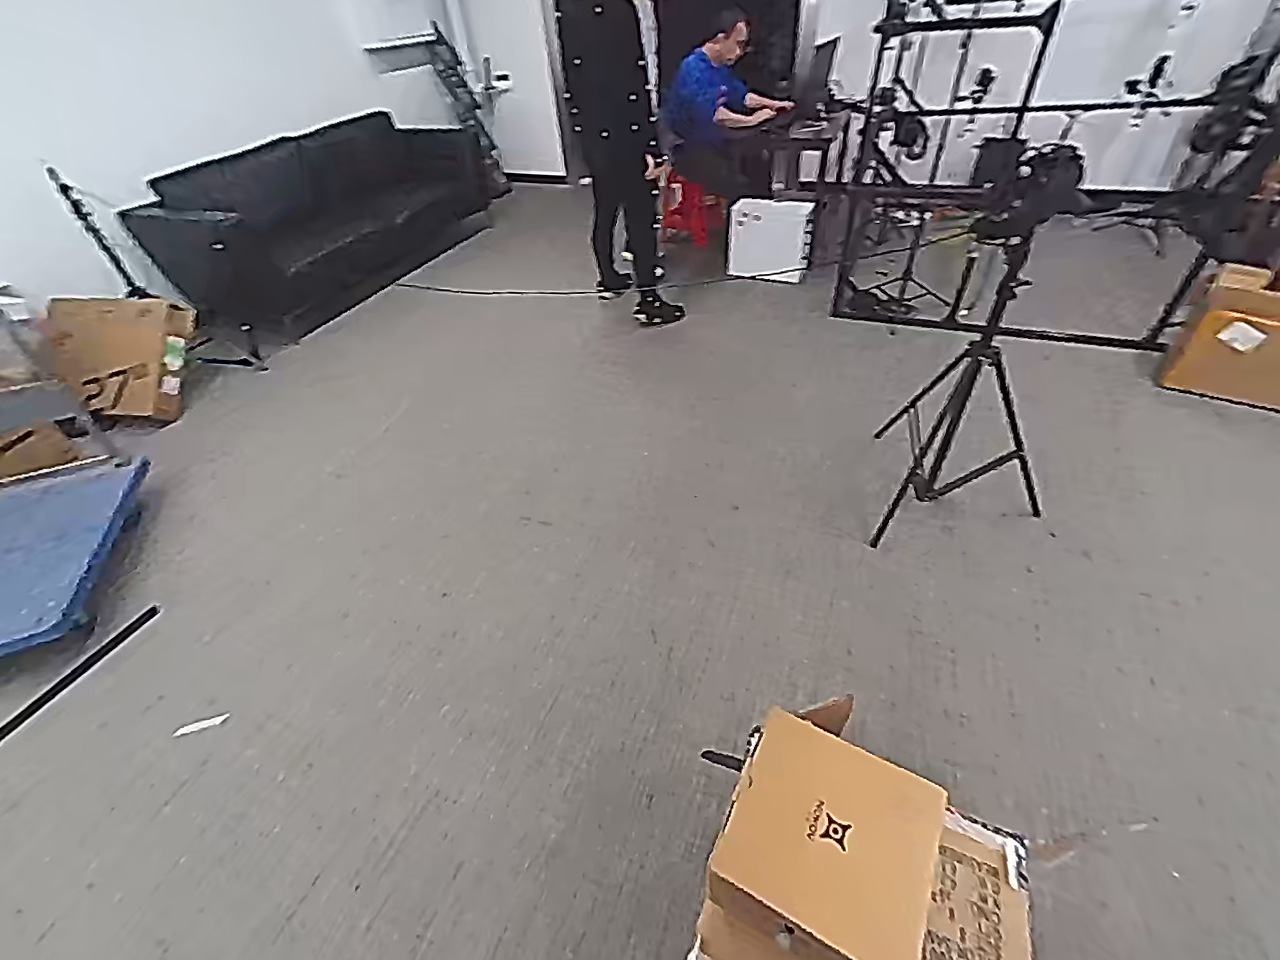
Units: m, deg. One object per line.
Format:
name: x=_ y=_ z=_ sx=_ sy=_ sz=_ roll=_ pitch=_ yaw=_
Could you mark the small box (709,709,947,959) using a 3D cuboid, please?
small box: x=0.184 y=0.377 z=0.555 sx=0.179 sy=0.176 sz=0.168 roll=18 pitch=50 yaw=25
